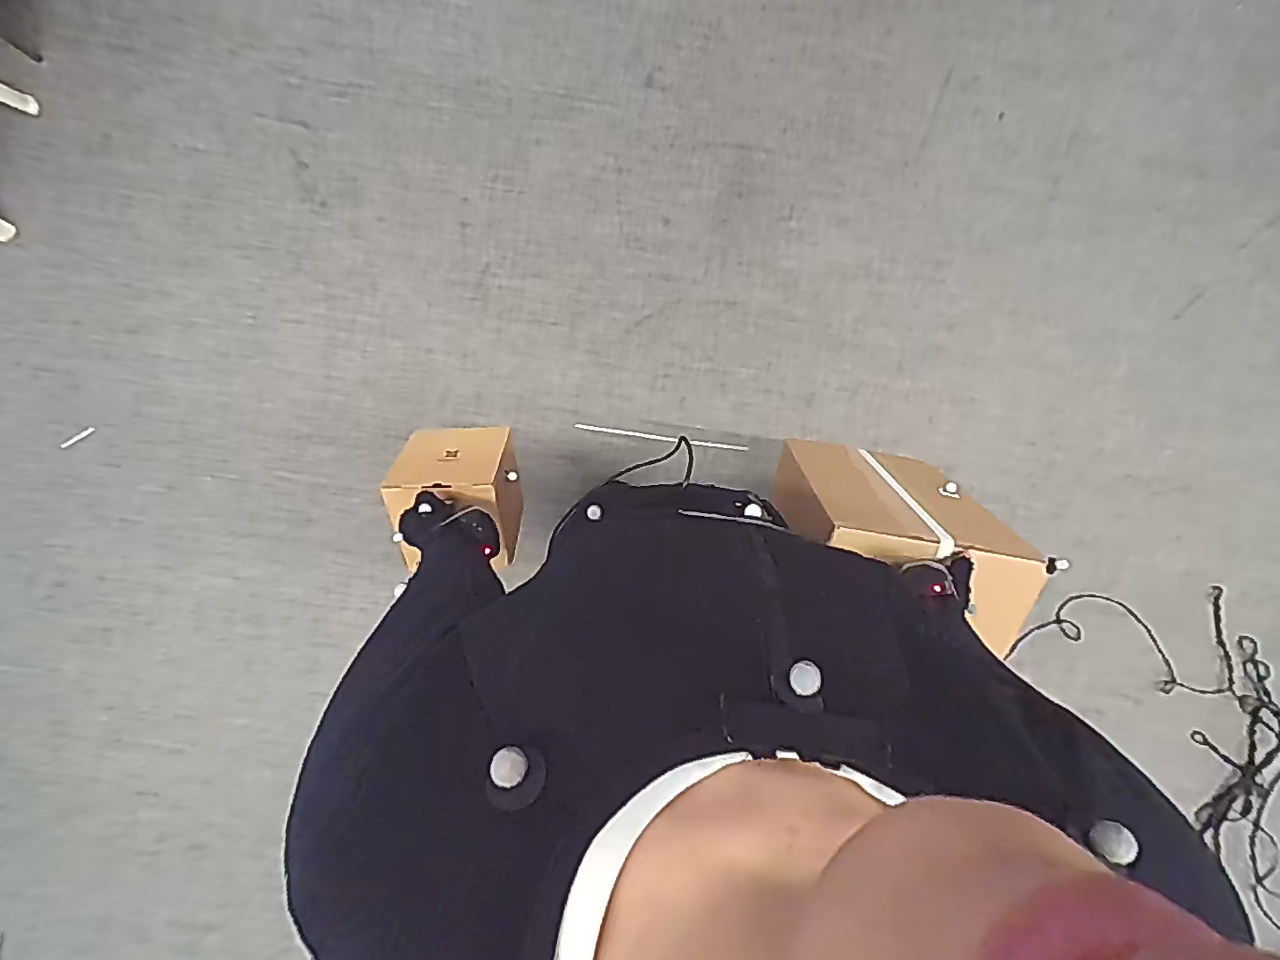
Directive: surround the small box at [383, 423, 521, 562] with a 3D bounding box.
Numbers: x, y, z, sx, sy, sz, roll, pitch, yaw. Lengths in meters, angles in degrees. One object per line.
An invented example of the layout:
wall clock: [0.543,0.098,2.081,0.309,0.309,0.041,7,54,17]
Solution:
small box: [-0.300,0.018,0.907,0.168,0.179,0.176,-2,125,-2]
